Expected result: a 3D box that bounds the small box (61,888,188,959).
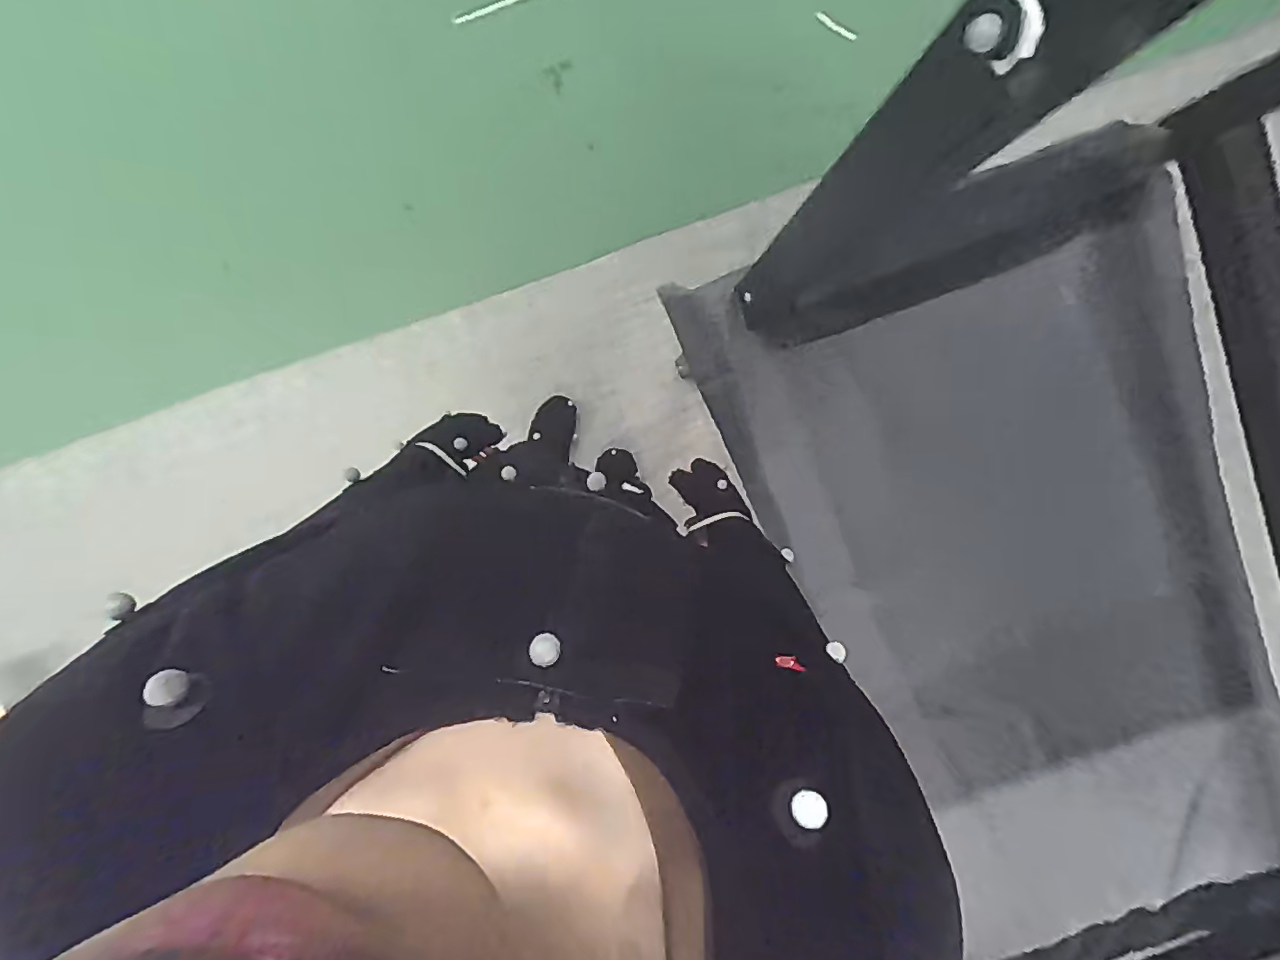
[{"bbox_3d":[-1.406,1.282,1.492,0.179,0.176,0.168,-22,97,1],"label":"small box"}]
